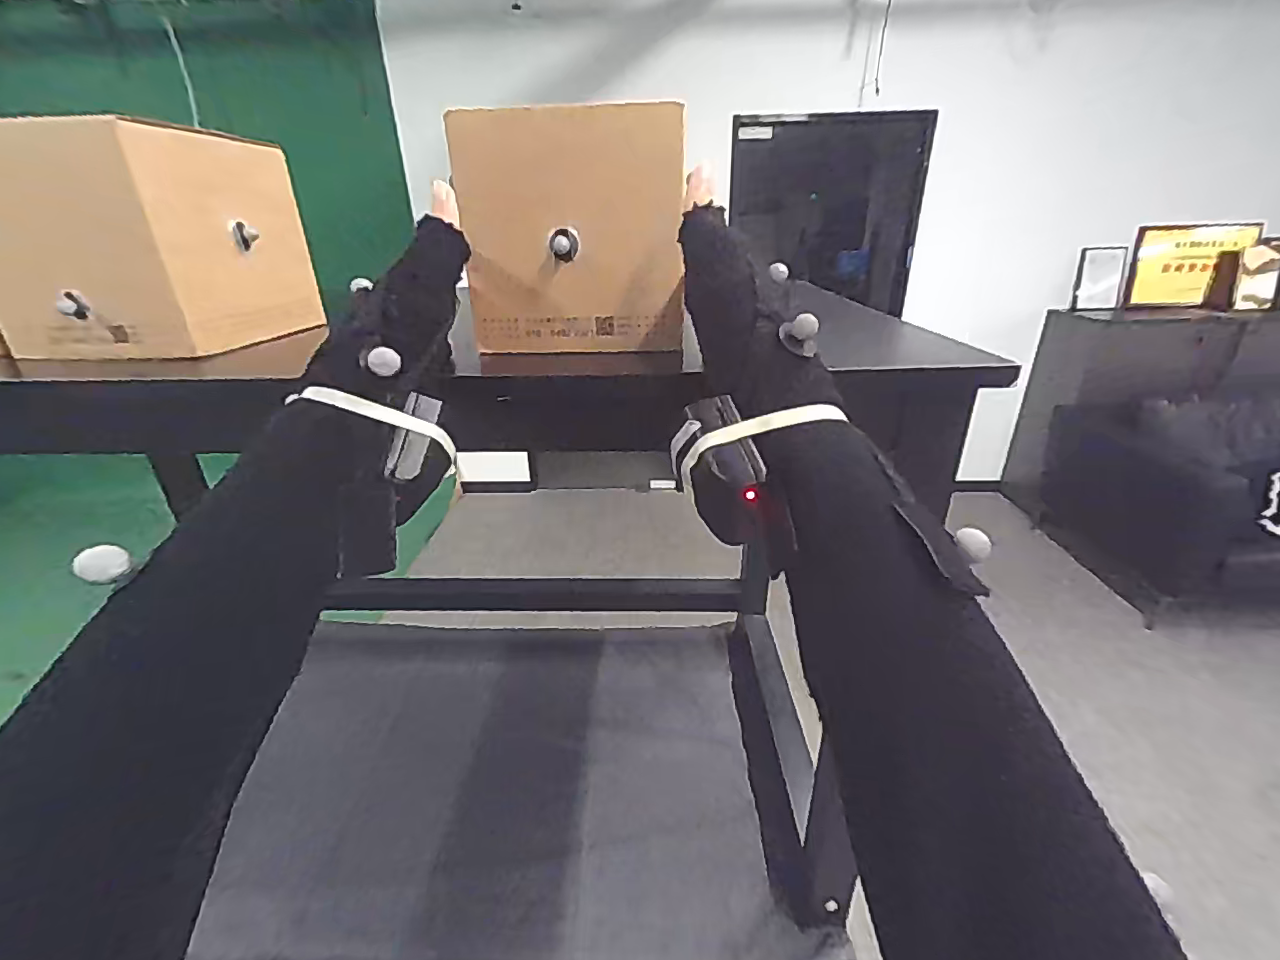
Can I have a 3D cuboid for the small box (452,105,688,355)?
[{"bbox_3d":[-0.041,-0.208,0.472,0.168,0.176,0.179,1,25,3],"label":"small box"}]
